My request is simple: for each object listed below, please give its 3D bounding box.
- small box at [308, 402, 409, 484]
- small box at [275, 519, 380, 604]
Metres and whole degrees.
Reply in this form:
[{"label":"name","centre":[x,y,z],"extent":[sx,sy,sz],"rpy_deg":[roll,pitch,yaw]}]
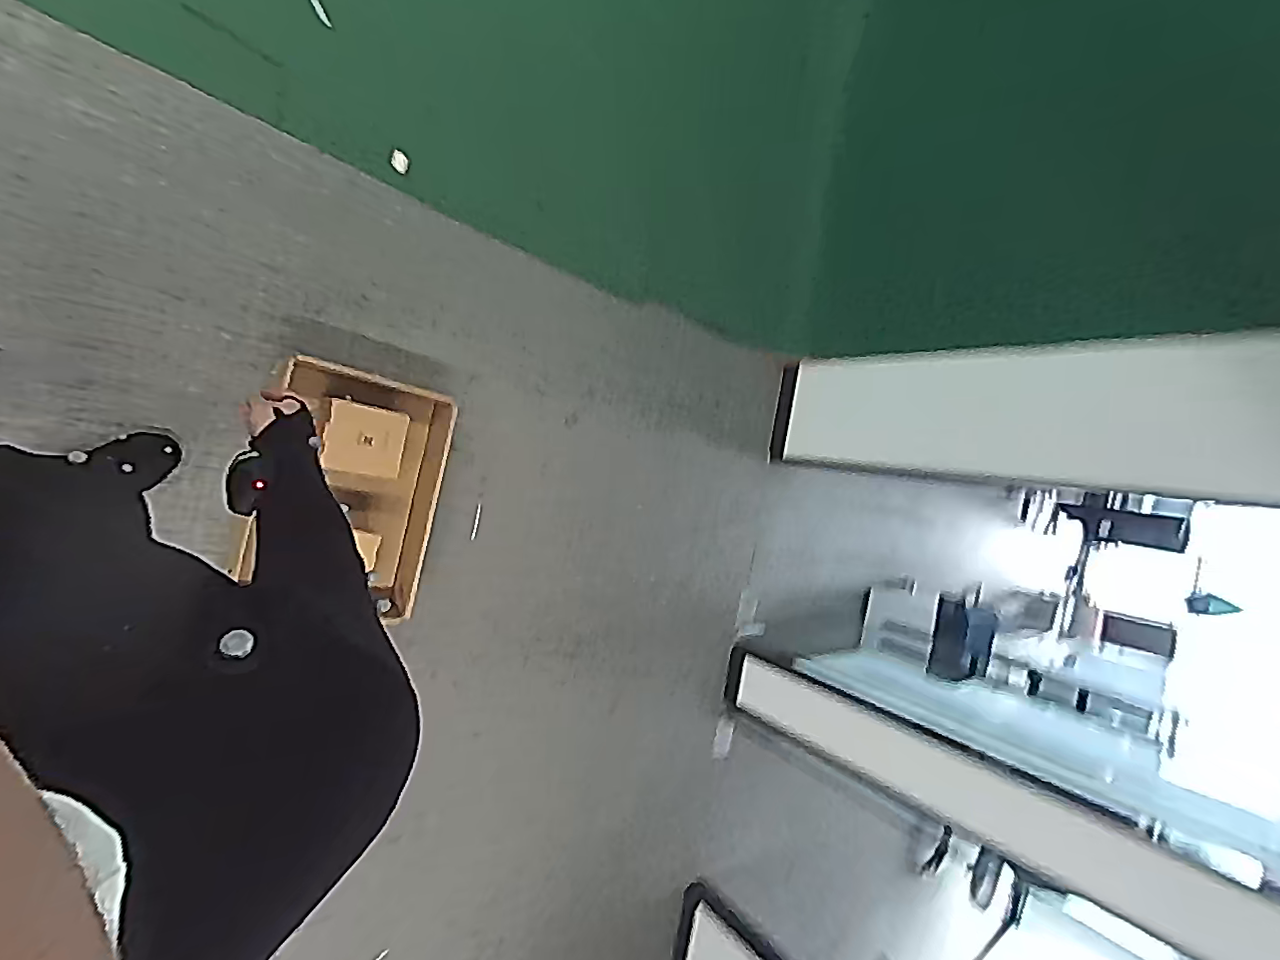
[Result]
[{"label":"small box","centre":[-0.711,-0.094,1.357],"extent":[0.179,0.176,0.168],"rpy_deg":[14,89,-40]},{"label":"small box","centre":[-0.781,0.198,1.344],"extent":[0.179,0.176,0.168],"rpy_deg":[18,84,-40]}]
